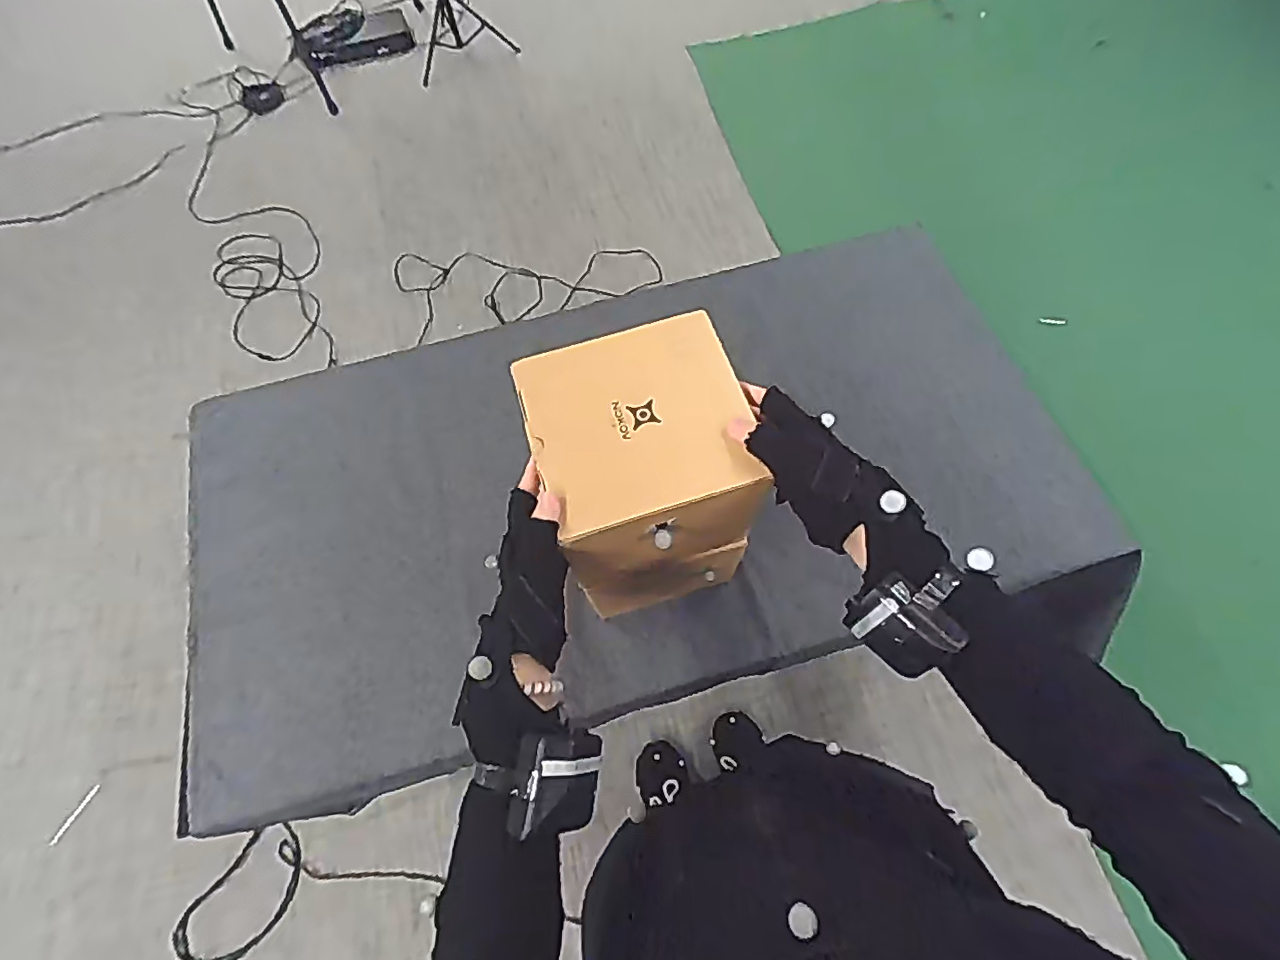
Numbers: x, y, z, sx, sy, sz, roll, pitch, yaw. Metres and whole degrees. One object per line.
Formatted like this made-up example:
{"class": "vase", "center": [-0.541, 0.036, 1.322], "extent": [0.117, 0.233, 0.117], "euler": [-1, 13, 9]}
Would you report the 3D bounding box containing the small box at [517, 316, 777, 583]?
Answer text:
{"class": "small box", "center": [0.002, -0.018, 0.507], "extent": [0.179, 0.176, 0.168], "euler": [-17, 67, -5]}
